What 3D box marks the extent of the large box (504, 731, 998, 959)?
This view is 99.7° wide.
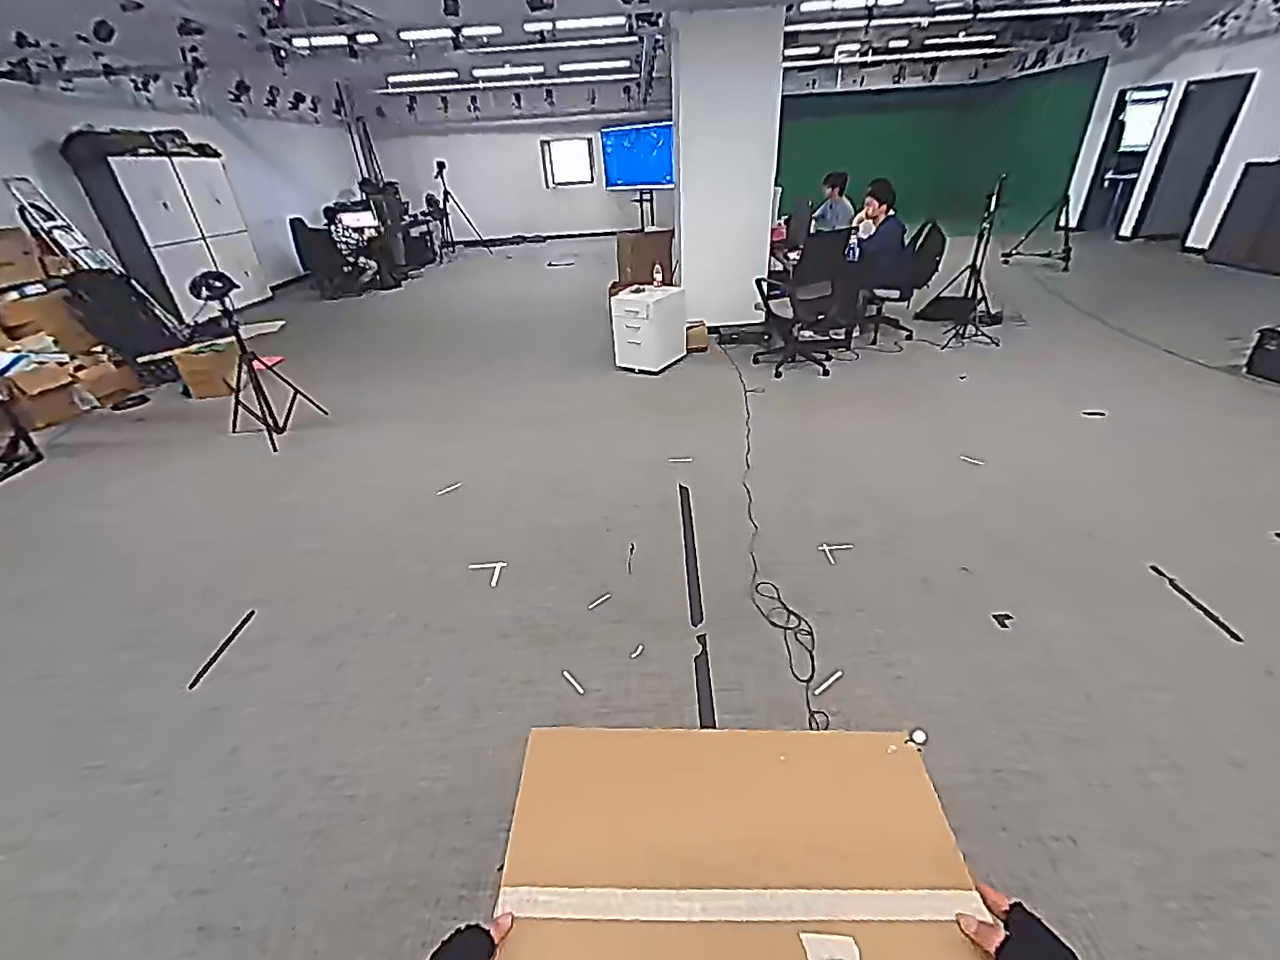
[{"bbox_3d":[0.087,0.485,0.546,0.408,0.320,0.320,1,35,1],"label":"large box"}]
